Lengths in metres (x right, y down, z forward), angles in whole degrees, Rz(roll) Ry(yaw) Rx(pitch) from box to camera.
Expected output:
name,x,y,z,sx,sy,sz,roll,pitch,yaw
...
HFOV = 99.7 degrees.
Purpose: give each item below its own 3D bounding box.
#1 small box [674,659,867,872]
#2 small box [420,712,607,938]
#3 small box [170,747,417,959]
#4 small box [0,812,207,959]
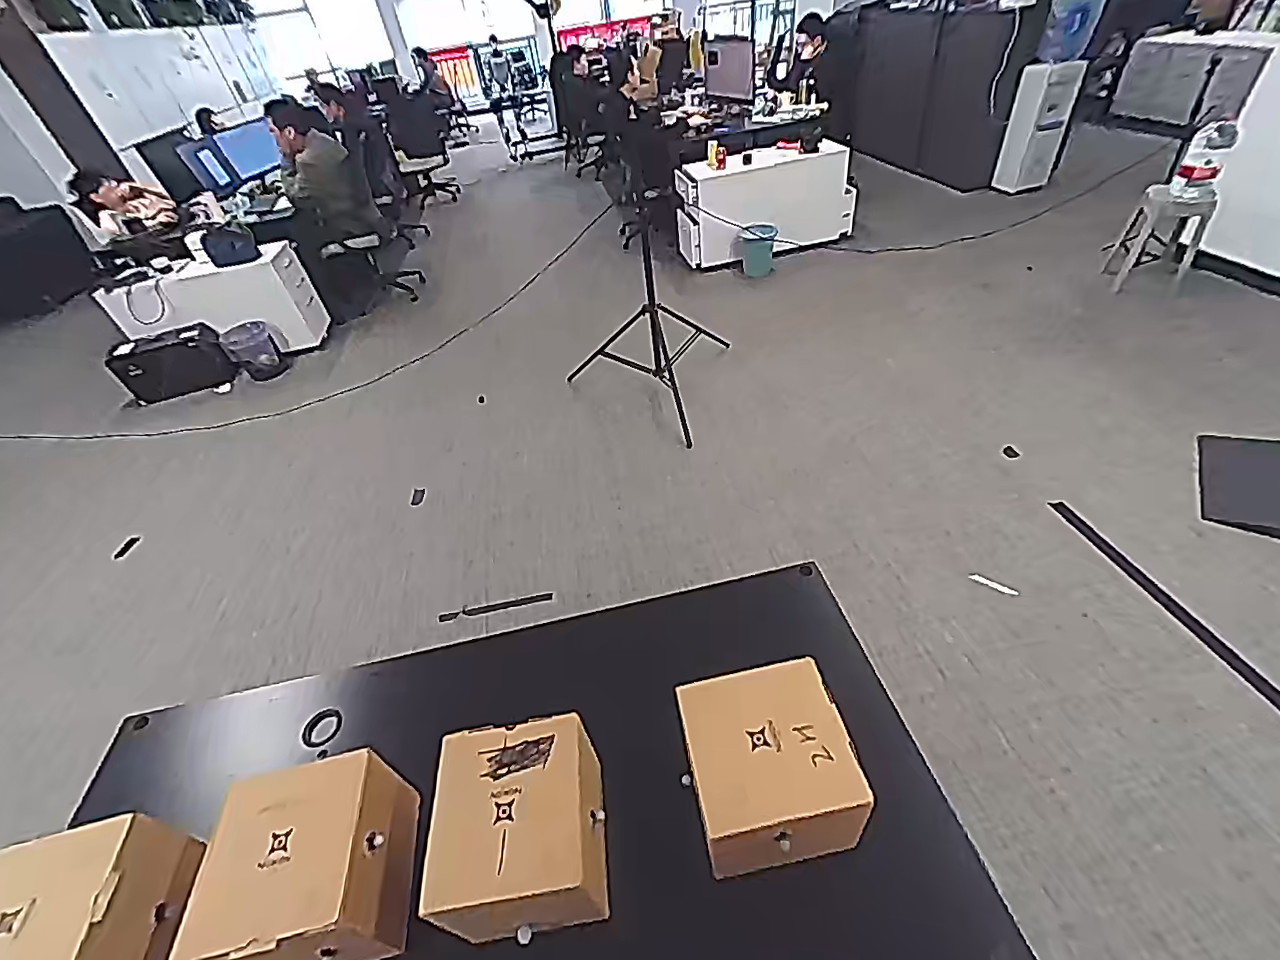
name,x,y,z,sx,sy,sz,roll,pitch,yaw
small box,0.149,0.349,0.659,0.179,0.176,0.168,-11,42,-2
small box,-0.136,0.409,0.644,0.168,0.176,0.179,-10,42,-1
small box,-0.382,0.454,0.639,0.168,0.176,0.179,-12,41,-5
small box,-0.636,0.513,0.614,0.179,0.176,0.168,-13,42,-6
